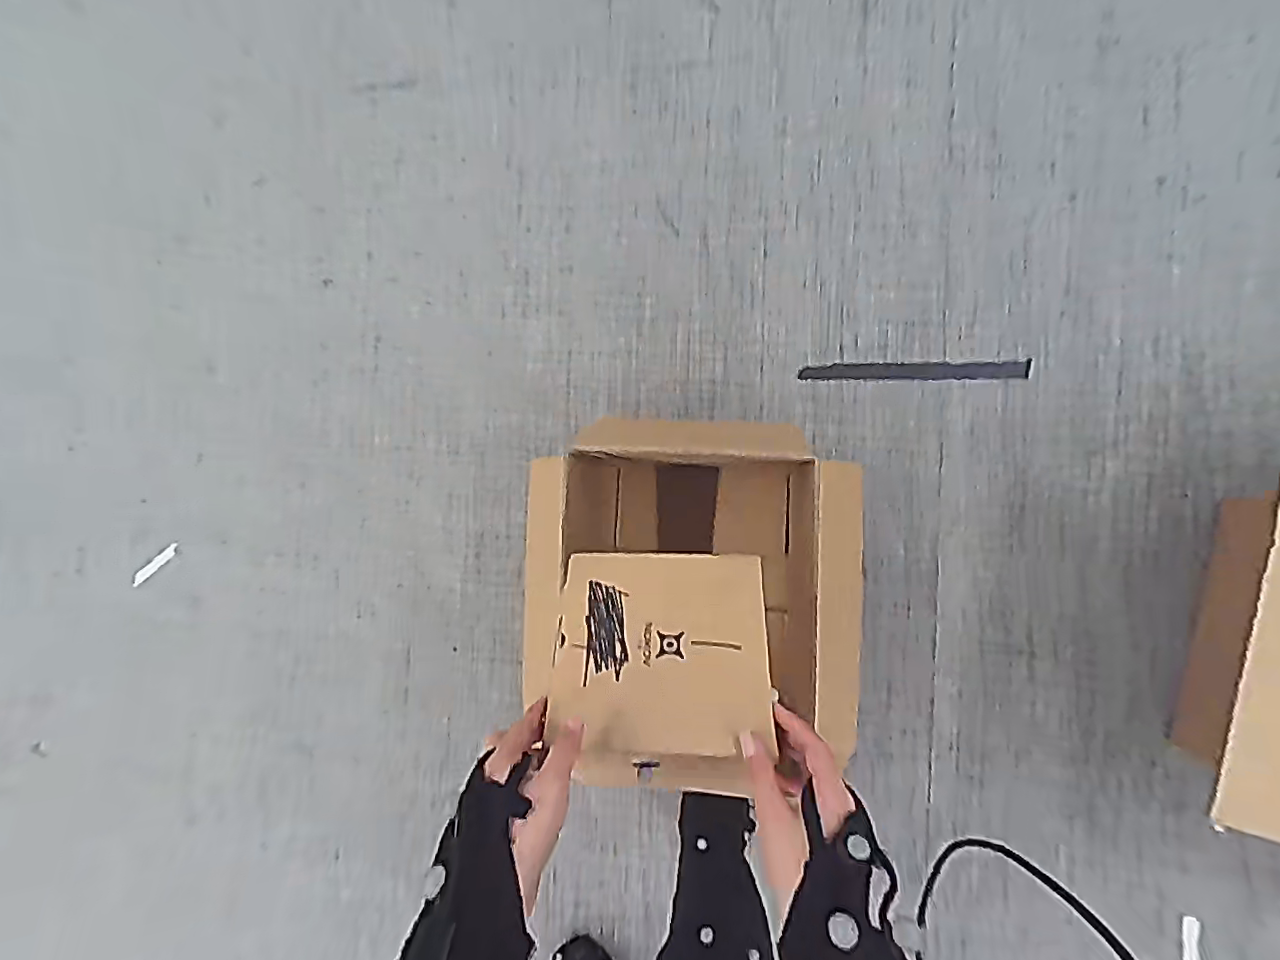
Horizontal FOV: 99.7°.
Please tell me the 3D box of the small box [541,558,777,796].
[{"bbox_3d":[0.025,0.185,0.500,0.179,0.176,0.168,-1,53,6],"label":"small box"}]
